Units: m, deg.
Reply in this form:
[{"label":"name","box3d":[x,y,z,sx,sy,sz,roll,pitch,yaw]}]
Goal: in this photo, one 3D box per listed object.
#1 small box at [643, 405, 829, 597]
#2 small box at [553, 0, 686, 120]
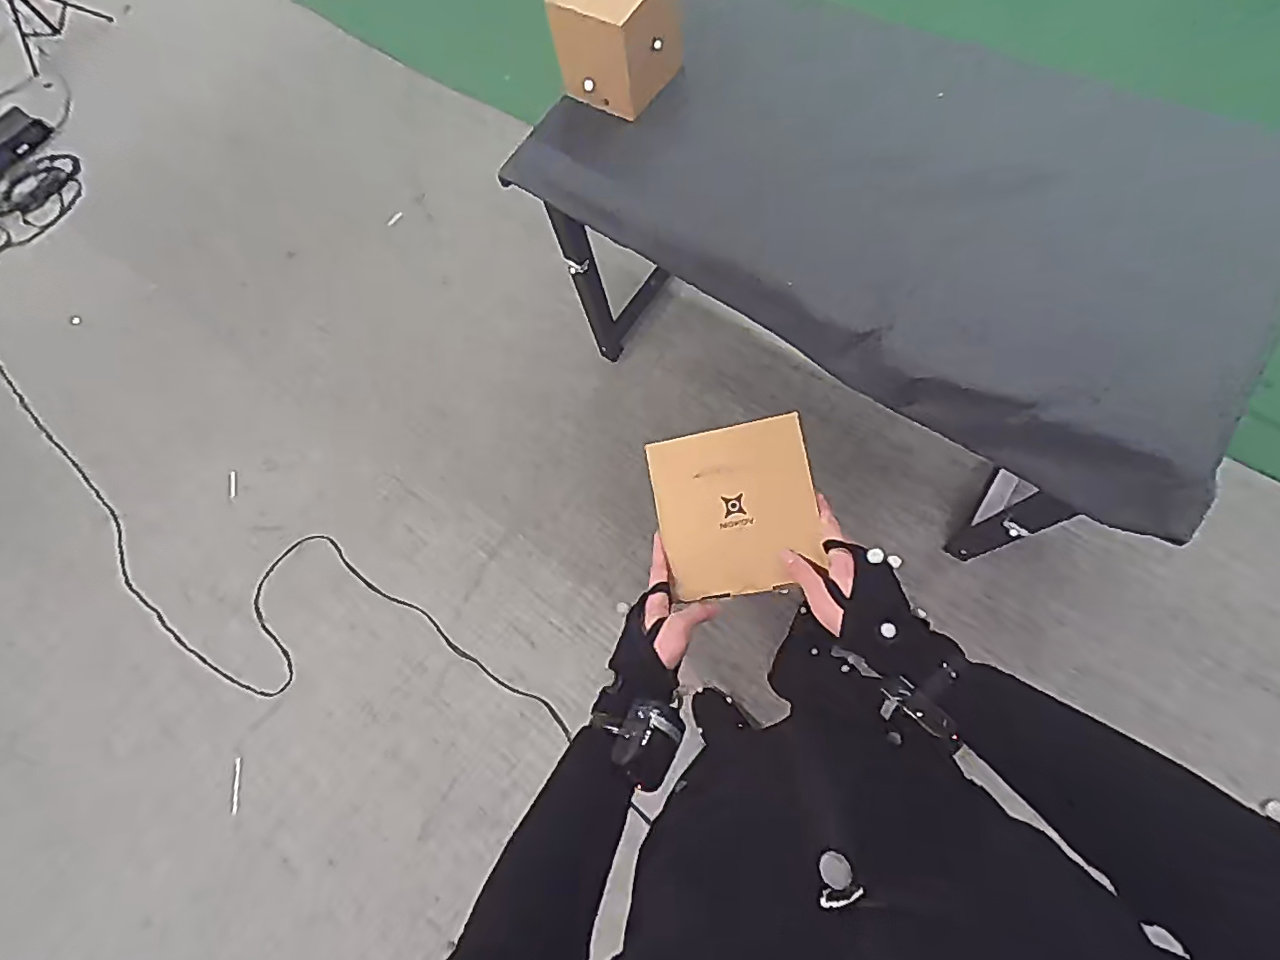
[{"label":"small box","box3d":[0.111,0.029,0.632,0.168,0.176,0.179,-12,82,10]},{"label":"small box","box3d":[-0.029,-0.805,0.976,0.168,0.176,0.179,33,78,16]}]
